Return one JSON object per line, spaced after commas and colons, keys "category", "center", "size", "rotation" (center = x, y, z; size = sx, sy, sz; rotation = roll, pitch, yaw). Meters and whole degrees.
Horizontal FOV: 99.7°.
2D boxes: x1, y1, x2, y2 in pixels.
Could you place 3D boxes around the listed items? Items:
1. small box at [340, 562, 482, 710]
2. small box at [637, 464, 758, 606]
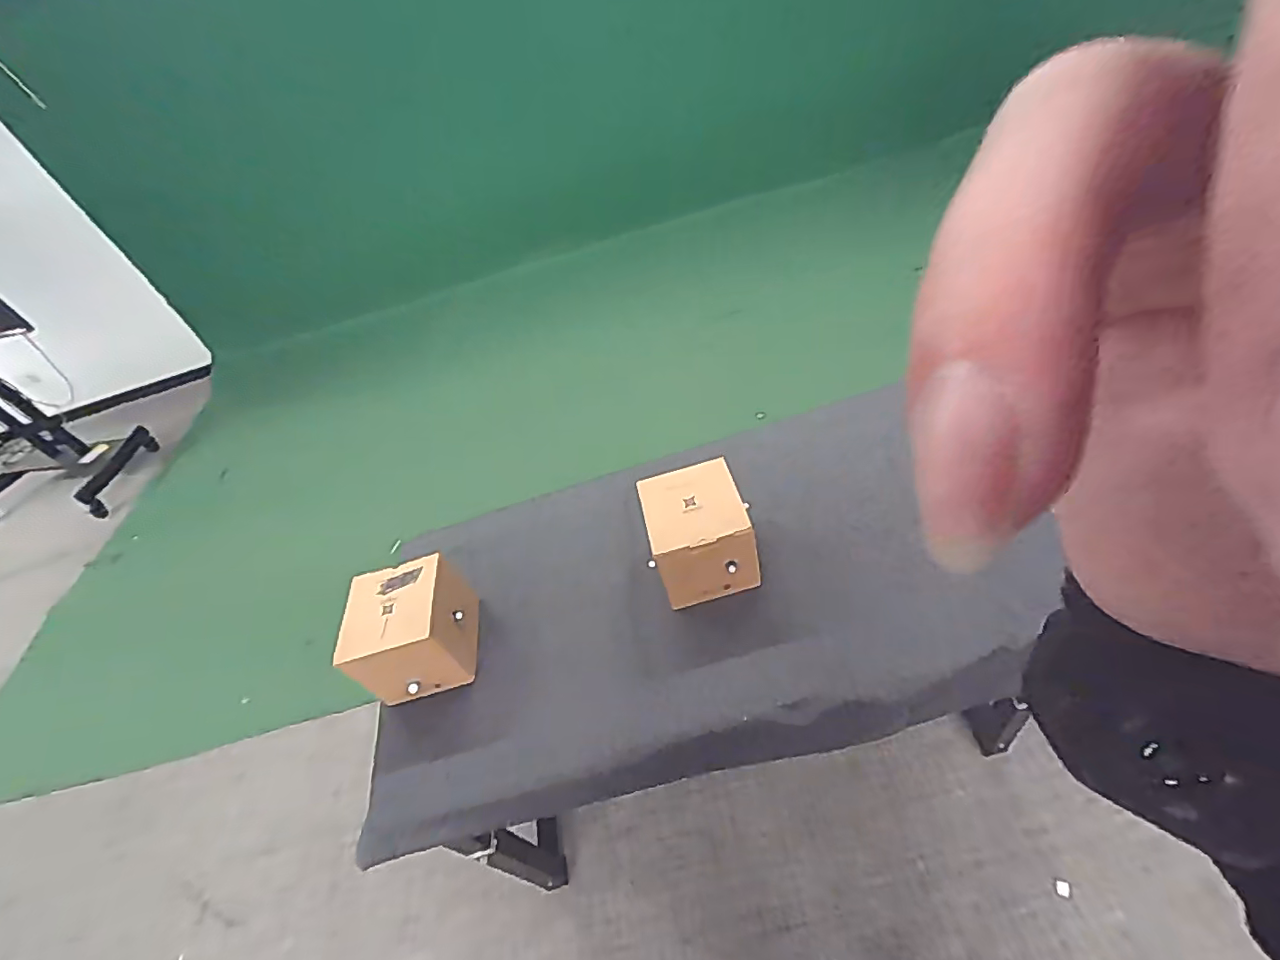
{"category": "small box", "center": [-0.396, 0.281, 0.970], "size": [0.168, 0.176, 0.179], "rotation": [-17, 45, 2]}
{"category": "small box", "center": [0.105, 0.106, 0.974], "size": [0.168, 0.176, 0.179], "rotation": [-17, 43, 1]}
